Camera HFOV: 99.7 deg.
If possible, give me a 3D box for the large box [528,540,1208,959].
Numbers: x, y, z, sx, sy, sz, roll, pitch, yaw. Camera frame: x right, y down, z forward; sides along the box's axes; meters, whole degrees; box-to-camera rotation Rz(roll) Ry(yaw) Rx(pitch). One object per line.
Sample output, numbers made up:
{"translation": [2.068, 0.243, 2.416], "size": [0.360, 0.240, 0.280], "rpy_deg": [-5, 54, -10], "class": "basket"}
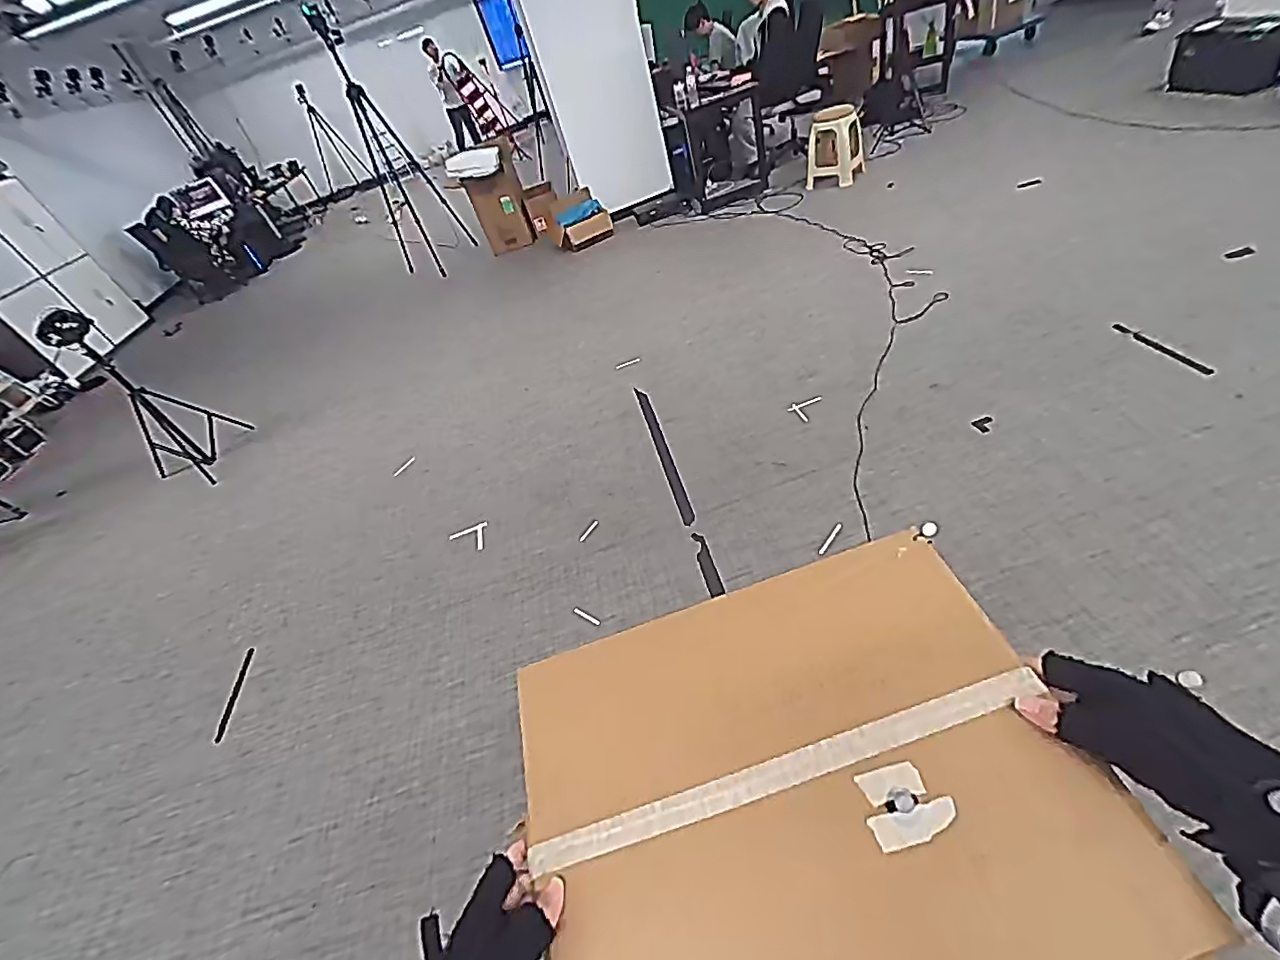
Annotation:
{"translation": [0.149, 0.326, 0.526], "size": [0.408, 0.320, 0.320], "rpy_deg": [-20, 47, -1], "class": "large box"}
